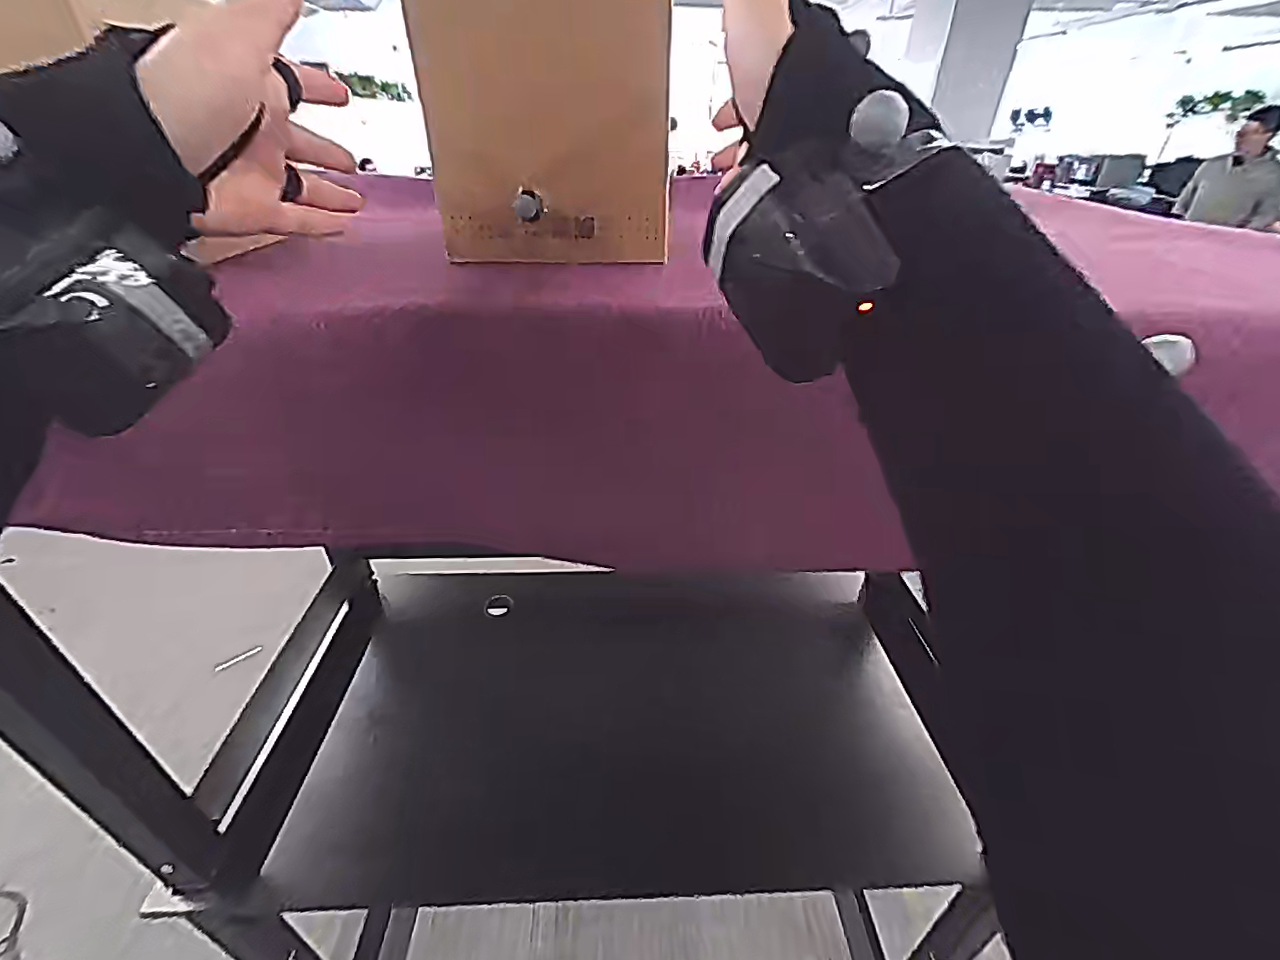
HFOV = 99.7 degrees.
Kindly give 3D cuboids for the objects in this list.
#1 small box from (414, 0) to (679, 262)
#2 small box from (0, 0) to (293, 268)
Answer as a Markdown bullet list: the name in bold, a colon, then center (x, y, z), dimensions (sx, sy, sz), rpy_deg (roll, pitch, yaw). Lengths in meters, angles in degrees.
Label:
- **small box**: center (-0.060, -0.280, 0.429), dimensions (0.168, 0.176, 0.179), rpy_deg (-1, 33, -1)
- **small box**: center (-0.384, -0.257, 0.386), dimensions (0.168, 0.176, 0.179), rpy_deg (-1, 32, -3)
